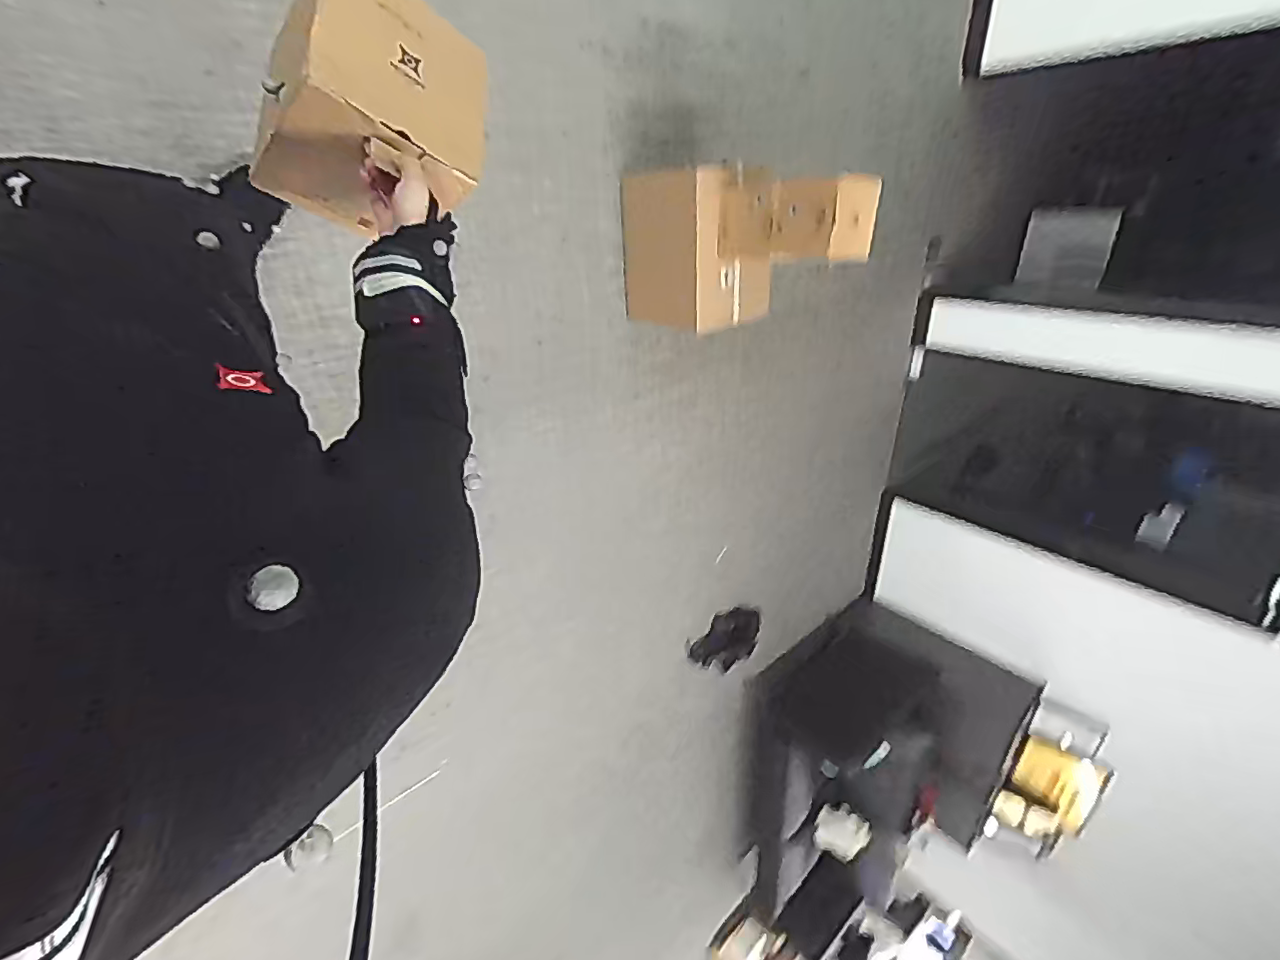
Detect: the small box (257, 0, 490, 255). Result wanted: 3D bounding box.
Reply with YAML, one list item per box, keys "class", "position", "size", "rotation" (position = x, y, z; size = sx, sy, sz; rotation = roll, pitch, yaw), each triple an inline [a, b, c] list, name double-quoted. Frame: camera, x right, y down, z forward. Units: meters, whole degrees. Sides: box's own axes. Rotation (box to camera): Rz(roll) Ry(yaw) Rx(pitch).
- class: "small box"
  position: [-0.281, -0.378, 0.576]
  size: [0.168, 0.176, 0.179]
  rotation: [15, 67, -48]

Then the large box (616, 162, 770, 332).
- class: "large box"
  position: [0.152, -0.687, 1.578]
  size: [0.320, 0.320, 0.408]
  rotation: [-24, 126, -32]

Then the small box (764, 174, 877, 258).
- class: "small box"
  position: [0.421, -0.618, 1.271]
  size: [0.179, 0.176, 0.168]
  rotation: [-19, 122, -36]
